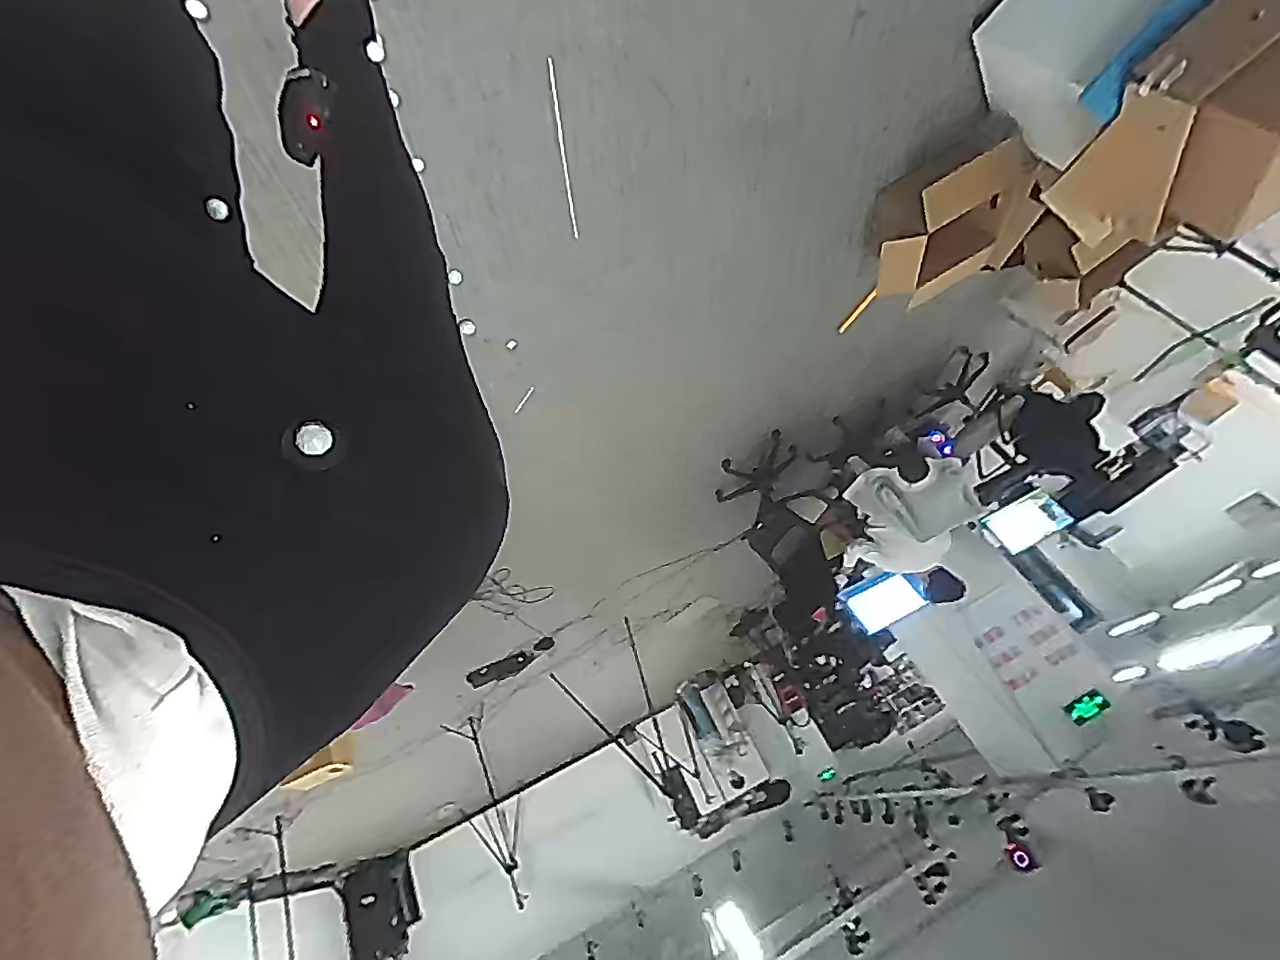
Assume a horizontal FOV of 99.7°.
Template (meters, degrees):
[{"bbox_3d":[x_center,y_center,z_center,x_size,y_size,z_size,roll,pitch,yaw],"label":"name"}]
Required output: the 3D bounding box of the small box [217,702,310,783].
[{"bbox_3d":[-1.148,0.801,1.651,0.168,0.176,0.179,-24,152,-11],"label":"small box"}]

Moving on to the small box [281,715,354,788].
[{"bbox_3d":[-1.142,0.952,1.900,0.179,0.176,0.168,-22,150,-12],"label":"small box"}]
